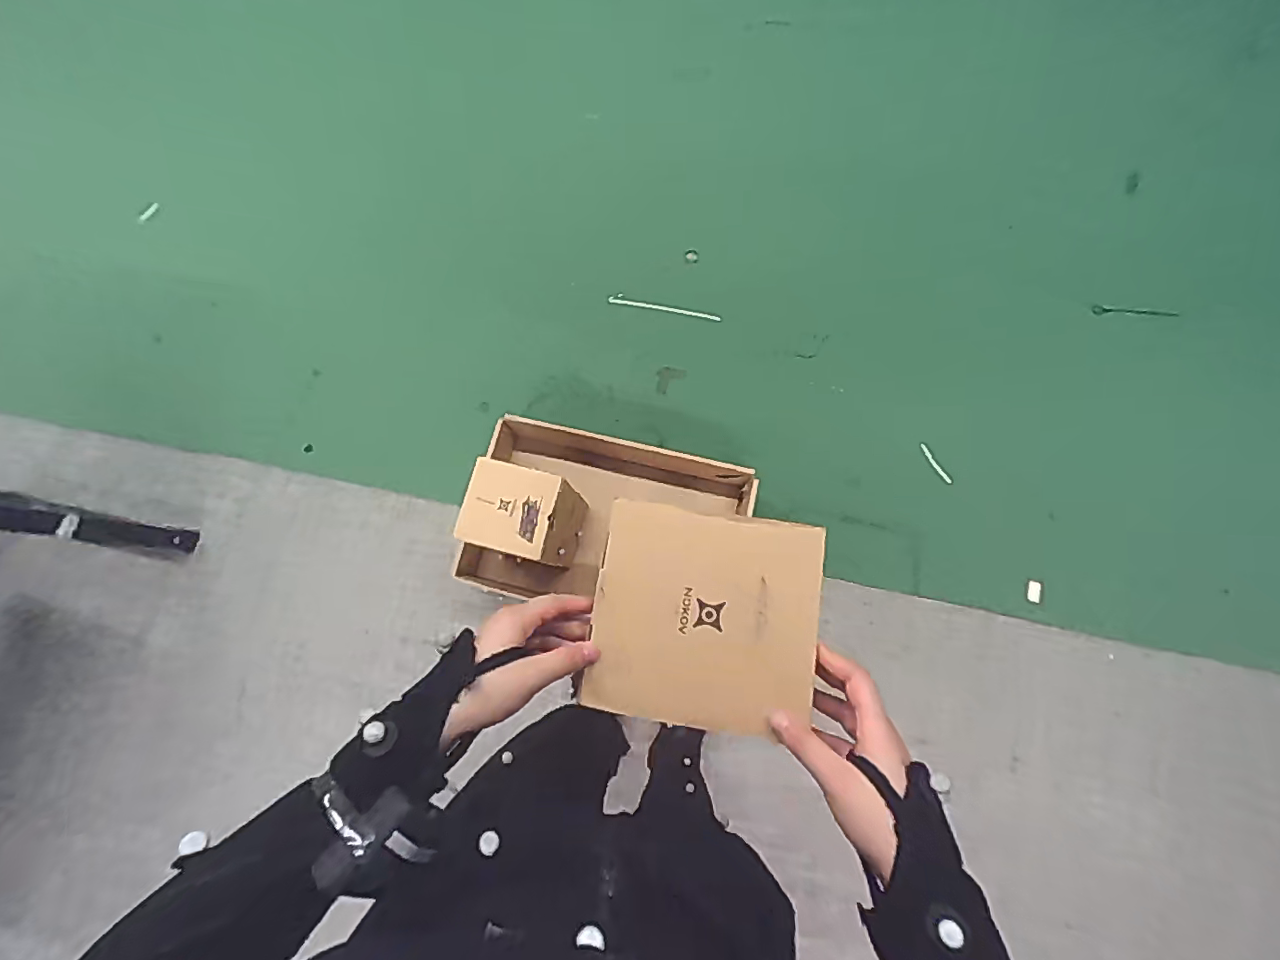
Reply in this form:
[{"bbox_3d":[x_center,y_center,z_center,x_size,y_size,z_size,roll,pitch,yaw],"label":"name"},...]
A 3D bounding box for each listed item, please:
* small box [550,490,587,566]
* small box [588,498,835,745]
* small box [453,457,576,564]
[{"bbox_3d":[-0.233,0.101,1.246,0.179,0.176,0.168,13,79,4],"label":"small box"},{"bbox_3d":[0.062,0.124,0.492,0.179,0.176,0.168,7,76,5],"label":"small box"},{"bbox_3d":[-0.239,0.069,1.085,0.179,0.176,0.168,14,78,6],"label":"small box"}]
